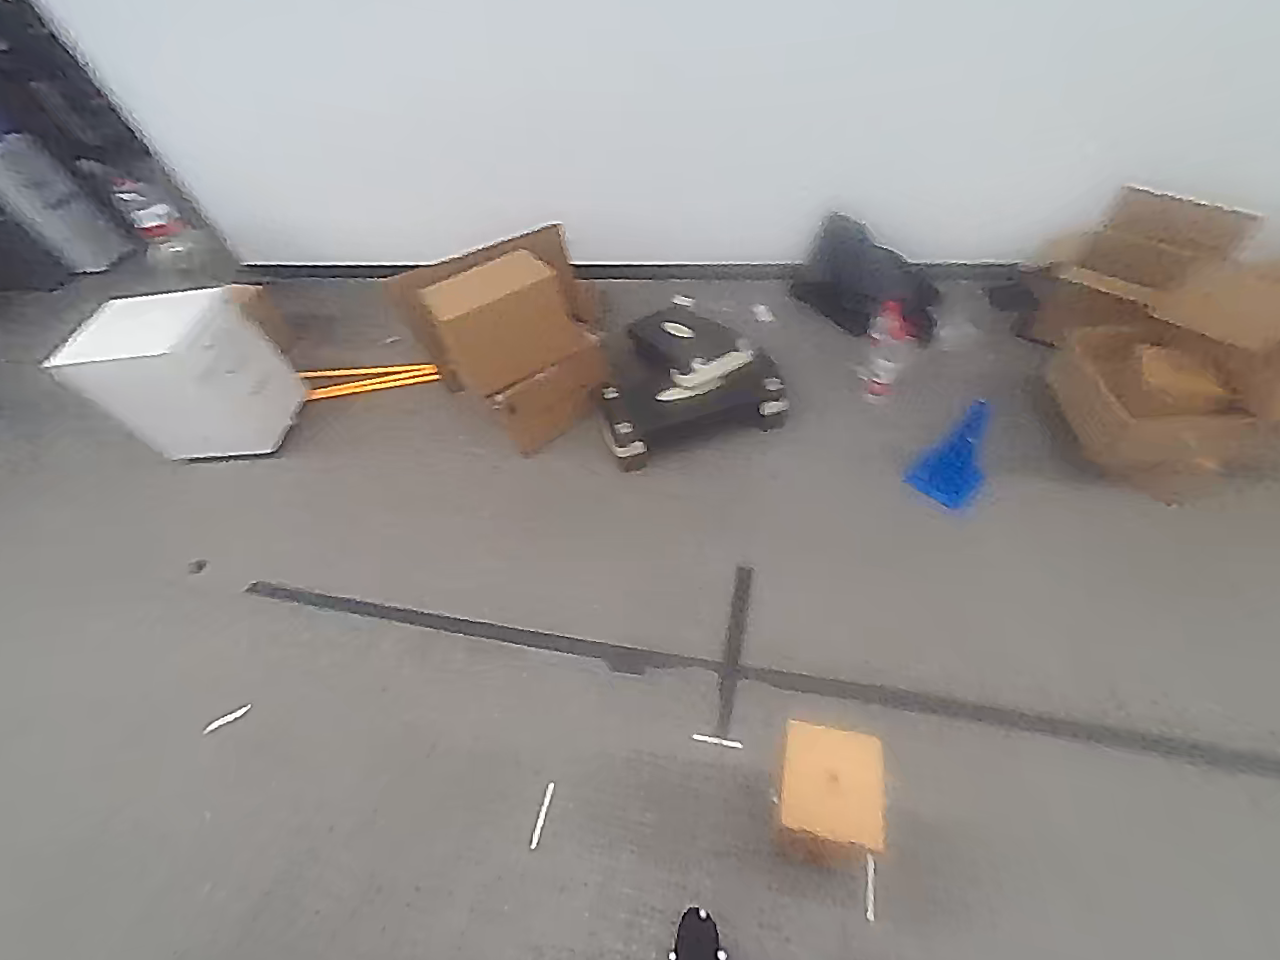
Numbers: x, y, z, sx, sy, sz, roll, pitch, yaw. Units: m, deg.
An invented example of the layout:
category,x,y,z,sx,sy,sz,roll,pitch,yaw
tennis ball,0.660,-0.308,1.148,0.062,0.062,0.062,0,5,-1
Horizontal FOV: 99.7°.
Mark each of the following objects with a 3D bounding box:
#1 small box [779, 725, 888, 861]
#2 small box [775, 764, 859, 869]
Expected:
category,x,y,z,sx,sy,sz,roll,pitch,yaw
small box,0.354,0.582,1.005,0.168,0.176,0.179,7,55,14
small box,0.406,0.783,1.259,0.168,0.176,0.179,3,55,13
